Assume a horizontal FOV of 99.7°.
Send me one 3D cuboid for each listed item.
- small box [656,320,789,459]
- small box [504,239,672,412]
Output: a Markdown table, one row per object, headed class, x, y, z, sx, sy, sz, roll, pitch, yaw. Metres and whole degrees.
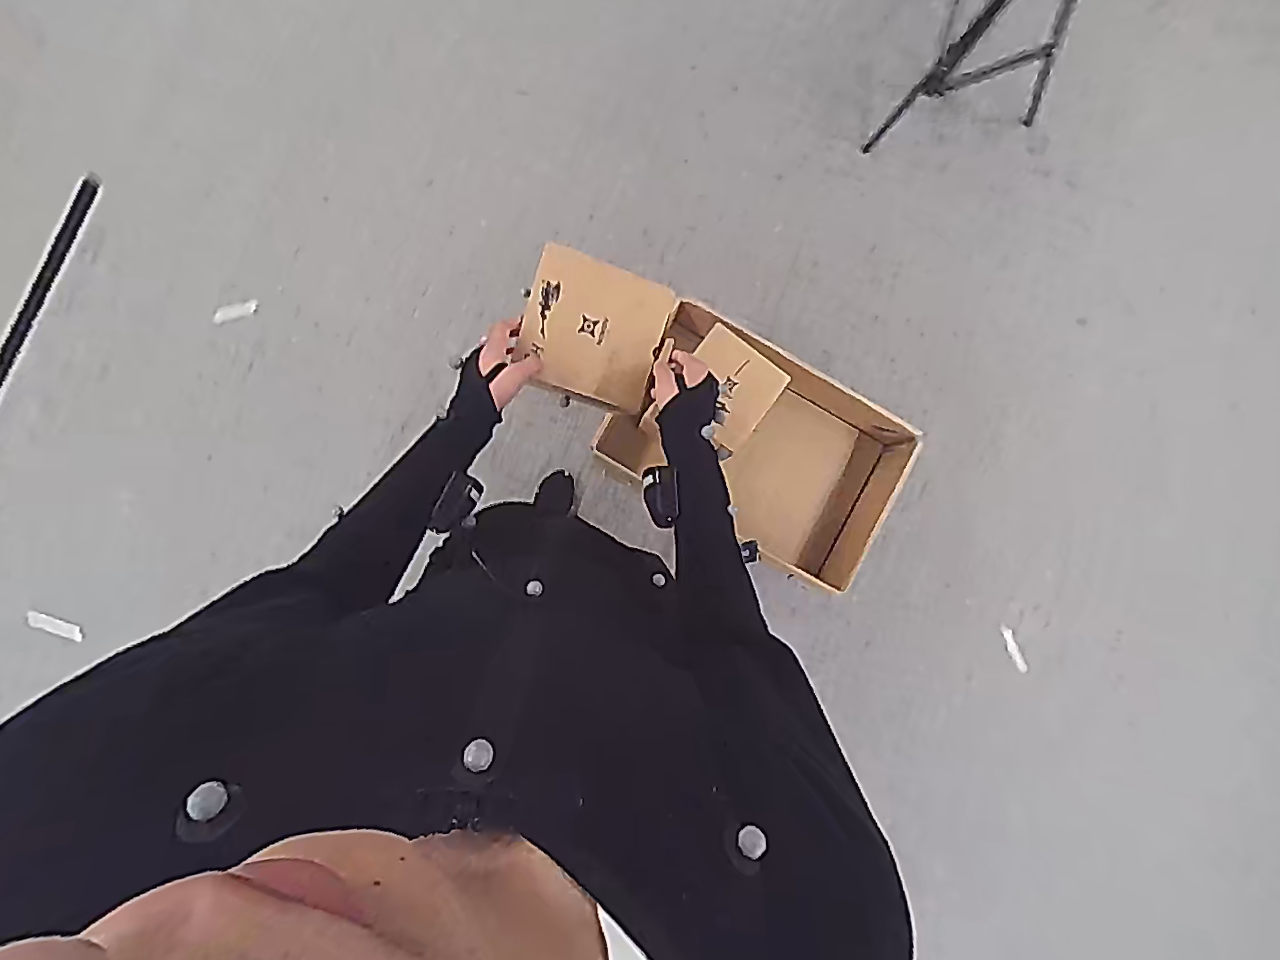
| class | x | y | z | sx | sy | sz | roll | pitch | yaw |
| --- | --- | --- | --- | --- | --- | --- | --- | --- | --- |
| small box | 0.143 | -0.157 | 1.014 | 0.168 | 0.176 | 0.179 | 38 | 84 | -1 |
| small box | -0.080 | -0.200 | 0.749 | 0.179 | 0.176 | 0.168 | 17 | 93 | -15 |
